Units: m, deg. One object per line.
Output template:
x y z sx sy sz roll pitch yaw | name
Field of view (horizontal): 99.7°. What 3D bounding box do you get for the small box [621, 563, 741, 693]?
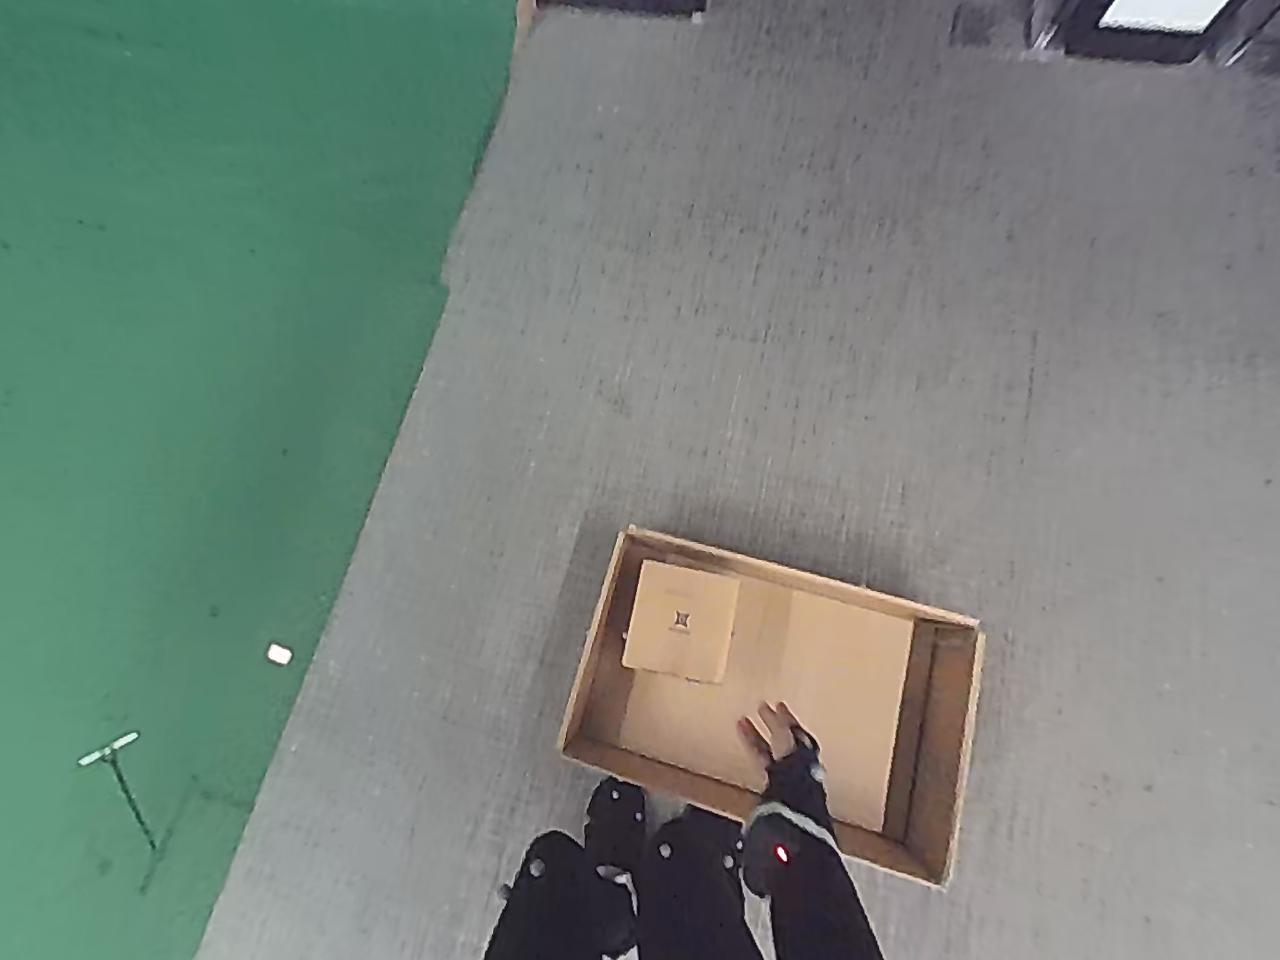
0.075 0.255 0.950 0.168 0.176 0.179 12 77 8 | small box
